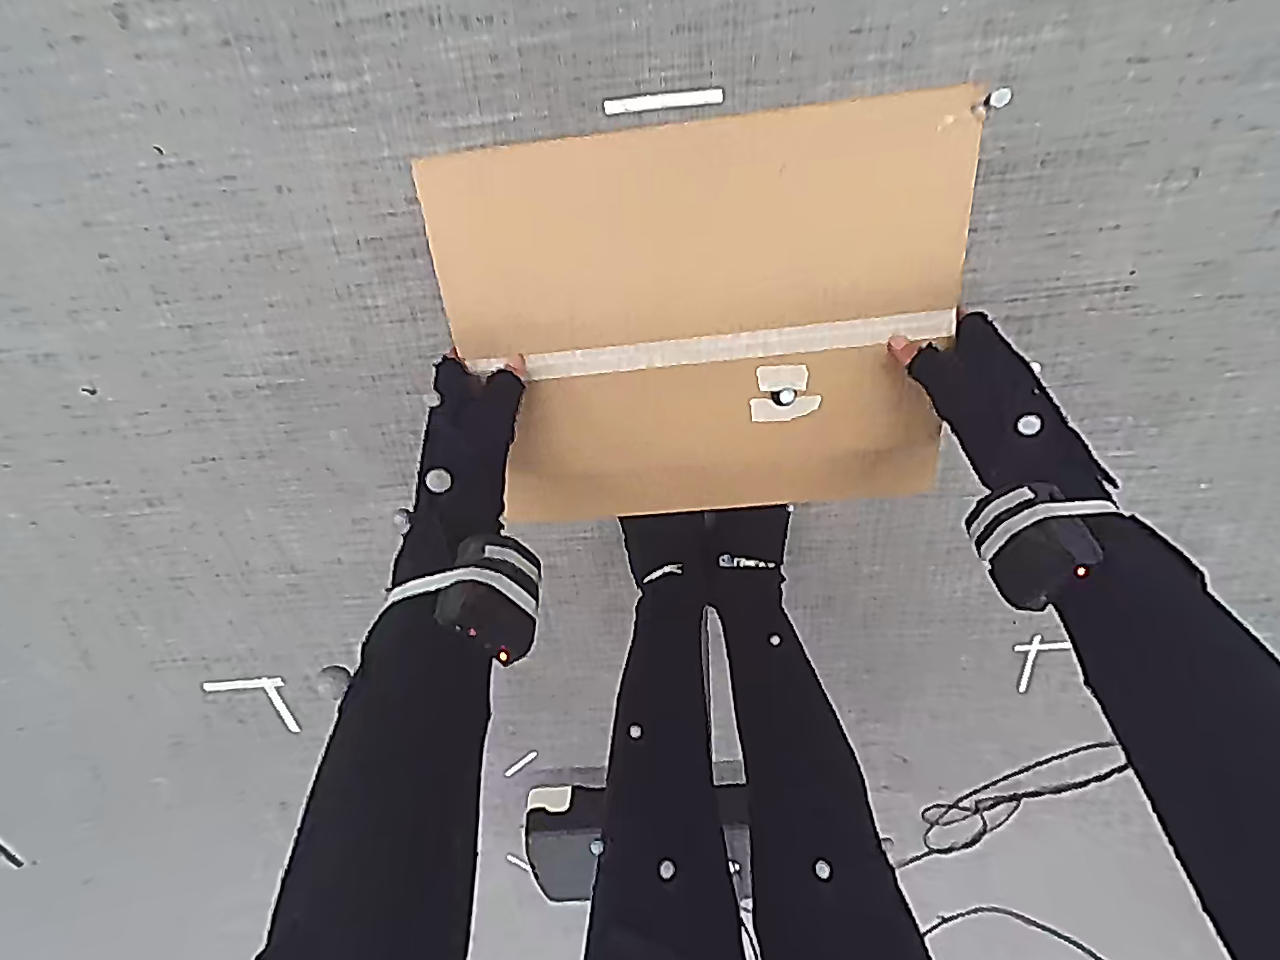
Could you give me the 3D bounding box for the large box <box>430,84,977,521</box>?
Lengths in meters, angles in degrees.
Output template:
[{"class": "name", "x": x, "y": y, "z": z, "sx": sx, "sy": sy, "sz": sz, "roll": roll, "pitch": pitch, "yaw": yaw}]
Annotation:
[{"class": "large box", "x": 0.058, "y": -0.180, "z": 0.585, "sx": 0.408, "sy": 0.320, "sz": 0.320, "roll": -5, "pitch": 117, "yaw": 4}]
